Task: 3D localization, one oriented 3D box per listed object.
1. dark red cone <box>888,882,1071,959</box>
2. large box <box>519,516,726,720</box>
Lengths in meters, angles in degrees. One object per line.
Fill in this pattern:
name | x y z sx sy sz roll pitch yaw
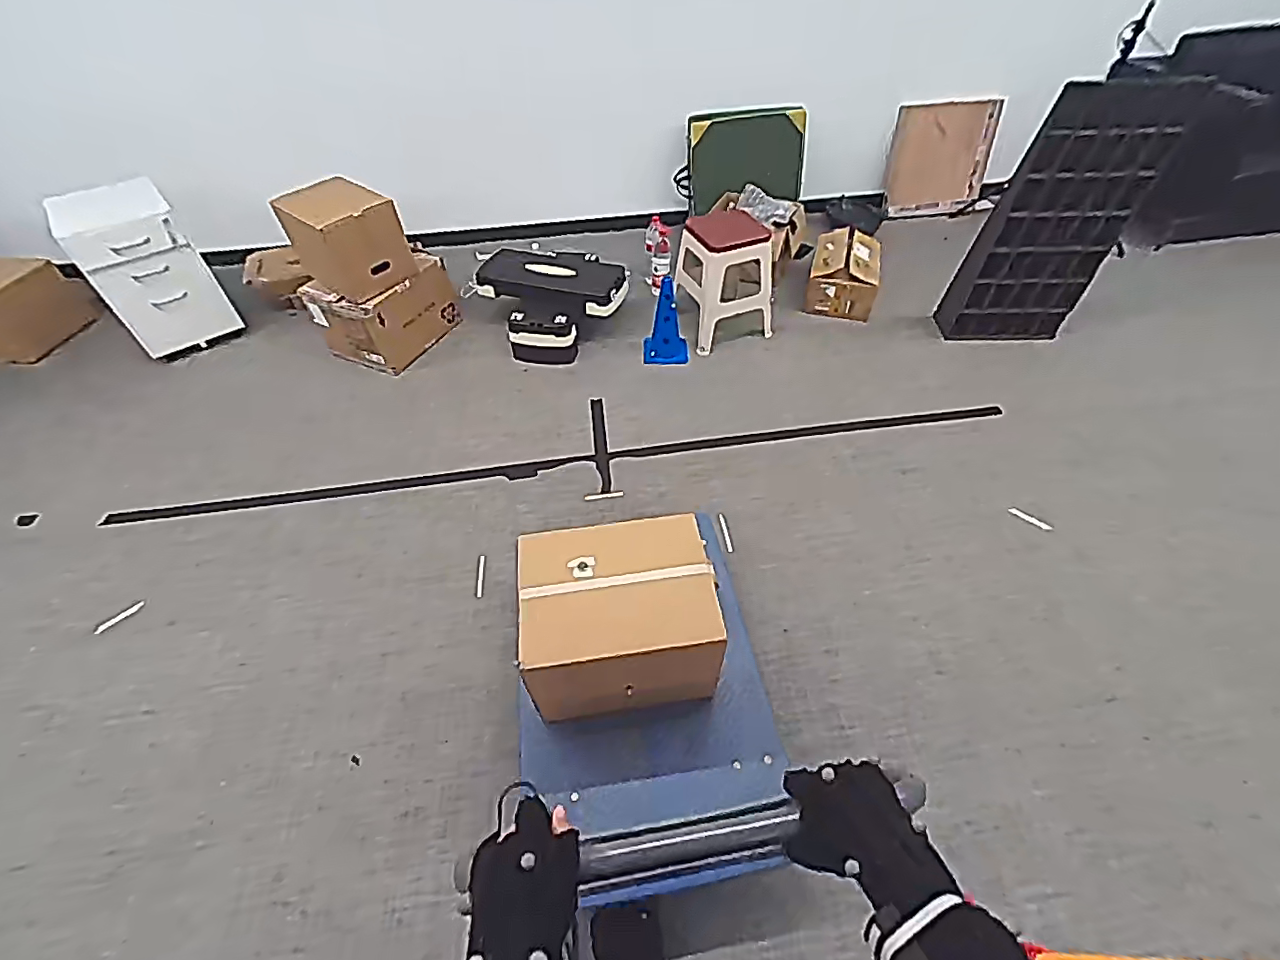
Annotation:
dark red cone | 0.616 0.819 0.943 0.201 0.394 0.202 -5 49 -5
large box | -0.044 0.320 1.241 0.408 0.320 0.320 -8 49 -4
